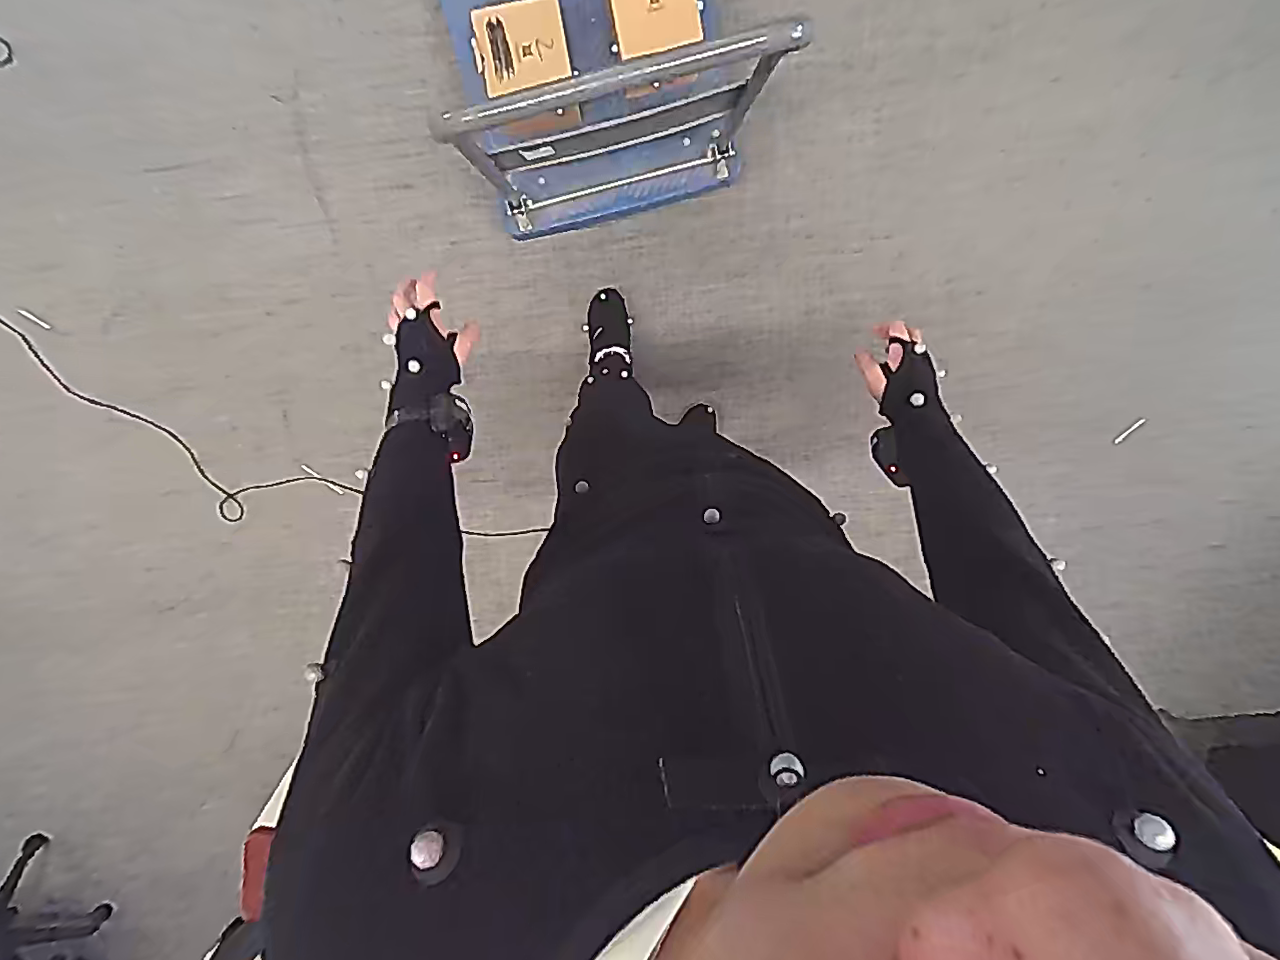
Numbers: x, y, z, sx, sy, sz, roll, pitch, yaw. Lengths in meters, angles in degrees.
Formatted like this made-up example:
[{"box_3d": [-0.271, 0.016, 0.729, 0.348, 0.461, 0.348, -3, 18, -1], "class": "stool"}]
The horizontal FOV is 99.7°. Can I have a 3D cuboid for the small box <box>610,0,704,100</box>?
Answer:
[{"box_3d": [0.031, -0.952, 1.143, 0.168, 0.176, 0.179, -12, 104, 3], "class": "small box"}]
